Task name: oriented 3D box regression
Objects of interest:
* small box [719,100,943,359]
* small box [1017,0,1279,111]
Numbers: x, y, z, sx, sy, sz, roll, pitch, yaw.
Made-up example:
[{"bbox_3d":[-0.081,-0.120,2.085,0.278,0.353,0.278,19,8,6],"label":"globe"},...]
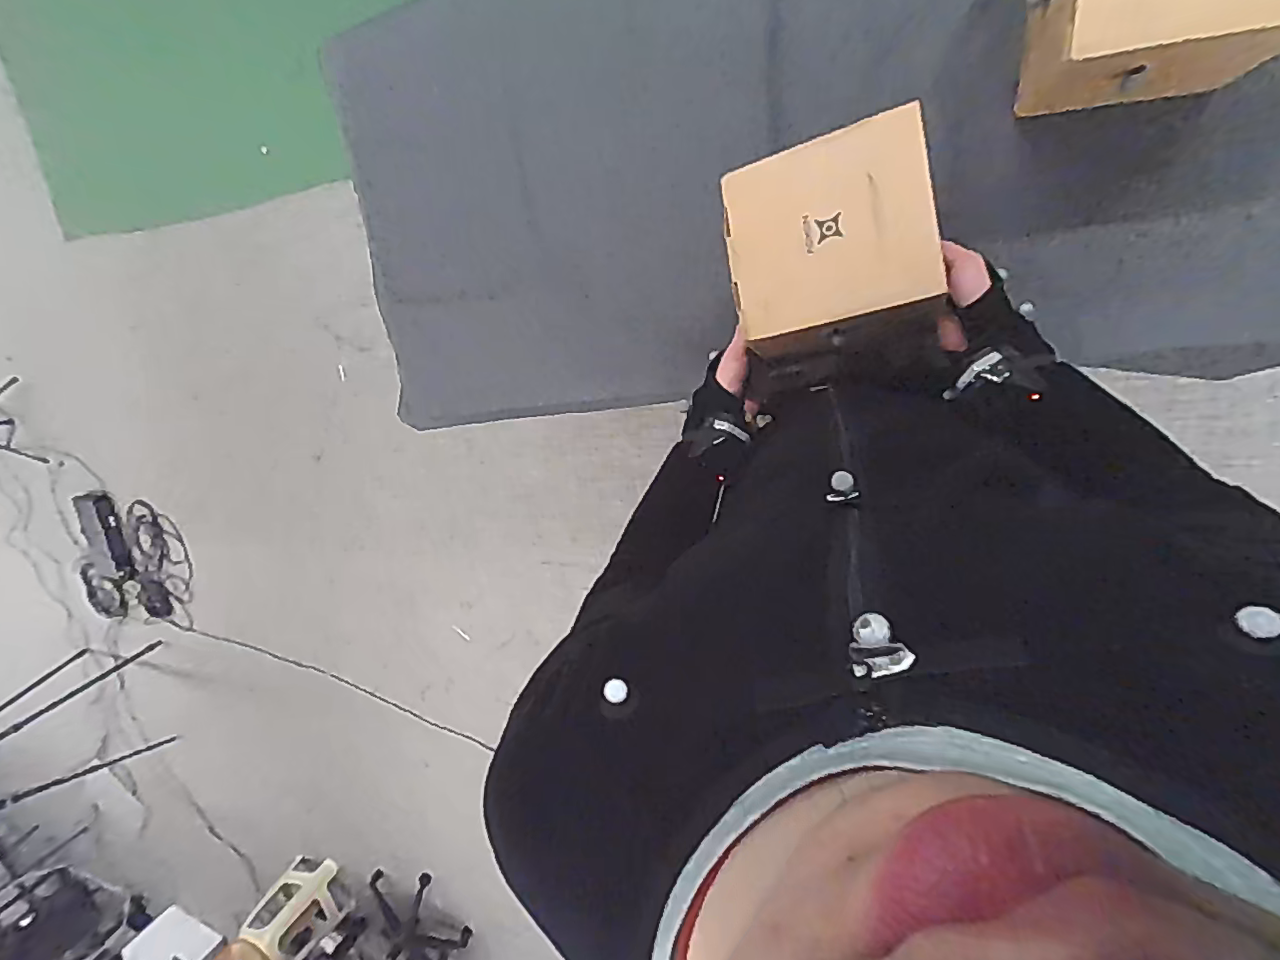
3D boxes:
[{"bbox_3d":[0.196,-0.231,0.557,0.179,0.176,0.168,-9,90,23],"label":"small box"},{"bbox_3d":[0.460,-0.451,0.475,0.179,0.176,0.168,5,110,21],"label":"small box"}]
